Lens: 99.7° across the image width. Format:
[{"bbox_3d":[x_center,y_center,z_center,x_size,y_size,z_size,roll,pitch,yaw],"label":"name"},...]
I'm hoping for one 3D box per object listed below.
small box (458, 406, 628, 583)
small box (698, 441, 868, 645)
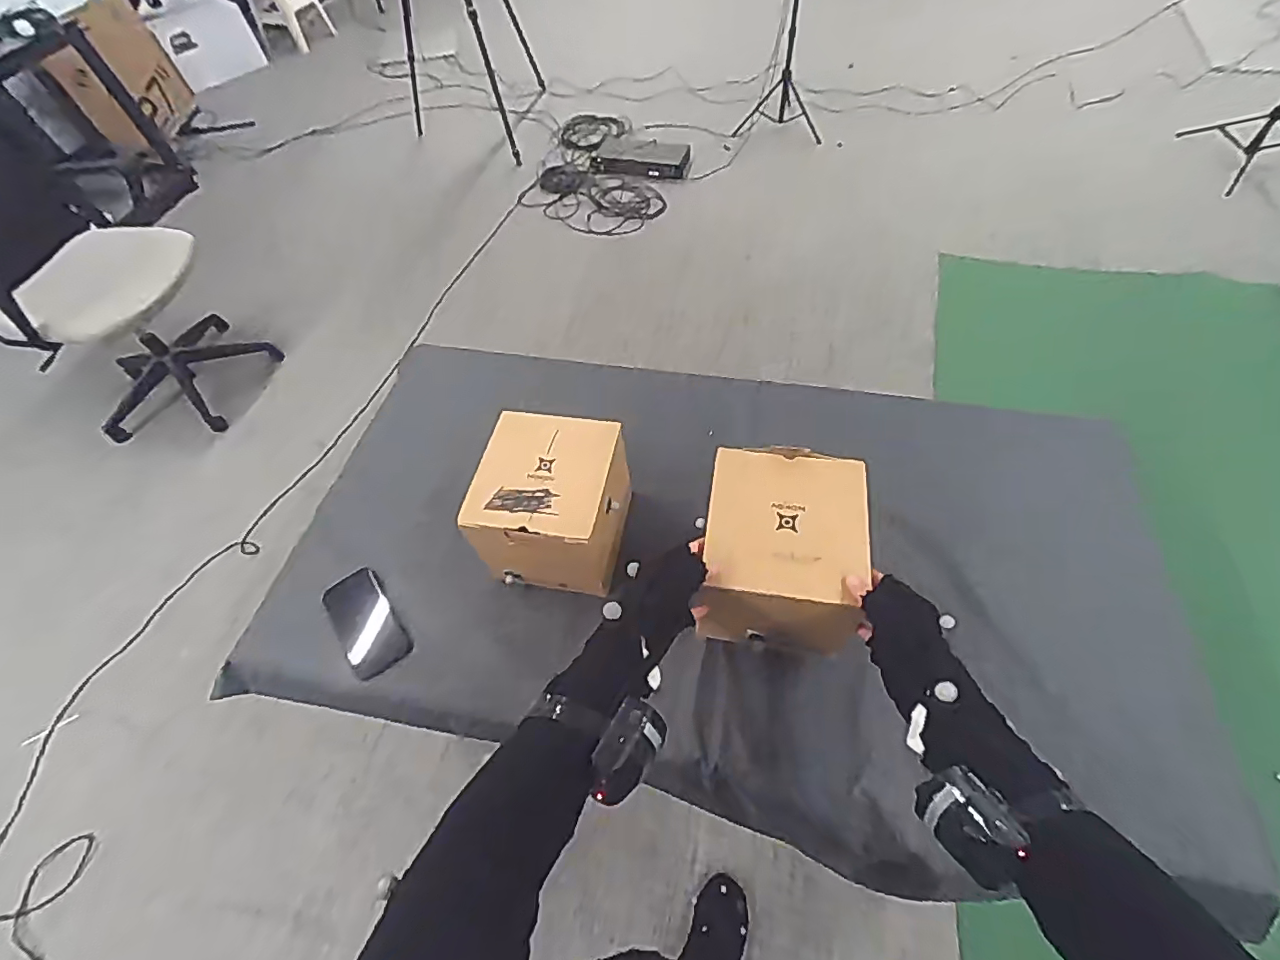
[{"bbox_3d":[-0.115,0.025,0.736,0.168,0.176,0.179,7,58,9],"label":"small box"},{"bbox_3d":[0.160,0.077,0.641,0.168,0.176,0.179,5,58,9],"label":"small box"}]
